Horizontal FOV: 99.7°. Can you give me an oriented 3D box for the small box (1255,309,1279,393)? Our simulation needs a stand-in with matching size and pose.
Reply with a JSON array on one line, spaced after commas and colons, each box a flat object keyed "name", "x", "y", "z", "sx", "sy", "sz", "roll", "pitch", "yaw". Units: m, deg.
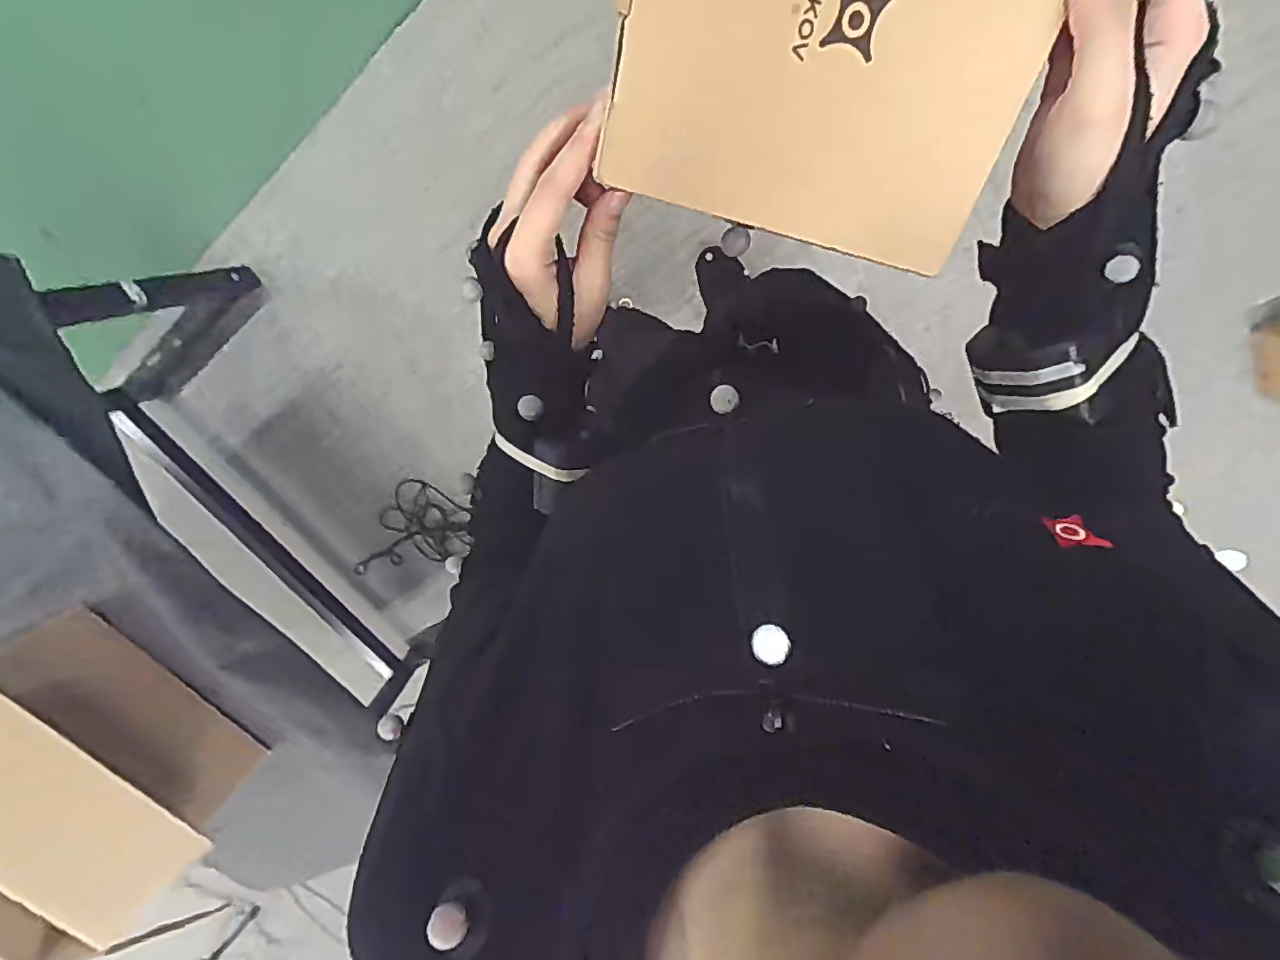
[{"name": "small box", "x": 1.348, "y": -0.258, "z": 1.036, "sx": 0.179, "sy": 0.176, "sz": 0.168, "roll": -26, "pitch": 112, "yaw": 19}]
